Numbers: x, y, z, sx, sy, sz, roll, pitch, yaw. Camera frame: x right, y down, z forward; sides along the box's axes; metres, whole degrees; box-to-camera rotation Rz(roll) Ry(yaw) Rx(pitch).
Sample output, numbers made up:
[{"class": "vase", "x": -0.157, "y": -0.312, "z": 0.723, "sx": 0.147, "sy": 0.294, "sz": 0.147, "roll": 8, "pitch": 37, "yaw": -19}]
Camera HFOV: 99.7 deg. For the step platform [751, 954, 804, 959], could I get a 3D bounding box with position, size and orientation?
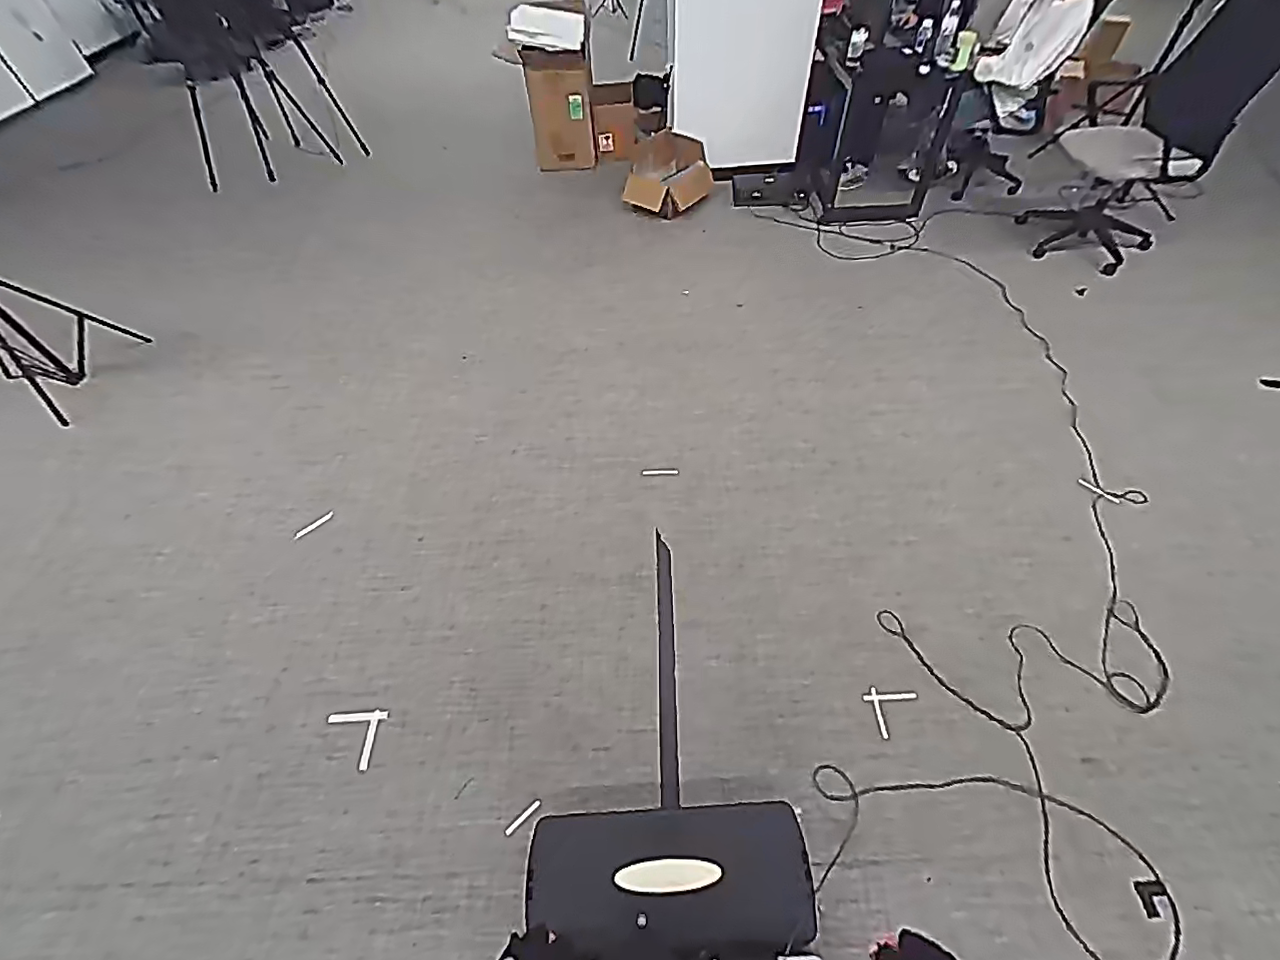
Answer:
[{"class": "step platform", "x": 0.042, "y": 1.151, "z": 1.075, "sx": 0.684, "sy": 0.204, "sz": 0.286, "roll": -4, "pitch": 51, "yaw": 1}]
